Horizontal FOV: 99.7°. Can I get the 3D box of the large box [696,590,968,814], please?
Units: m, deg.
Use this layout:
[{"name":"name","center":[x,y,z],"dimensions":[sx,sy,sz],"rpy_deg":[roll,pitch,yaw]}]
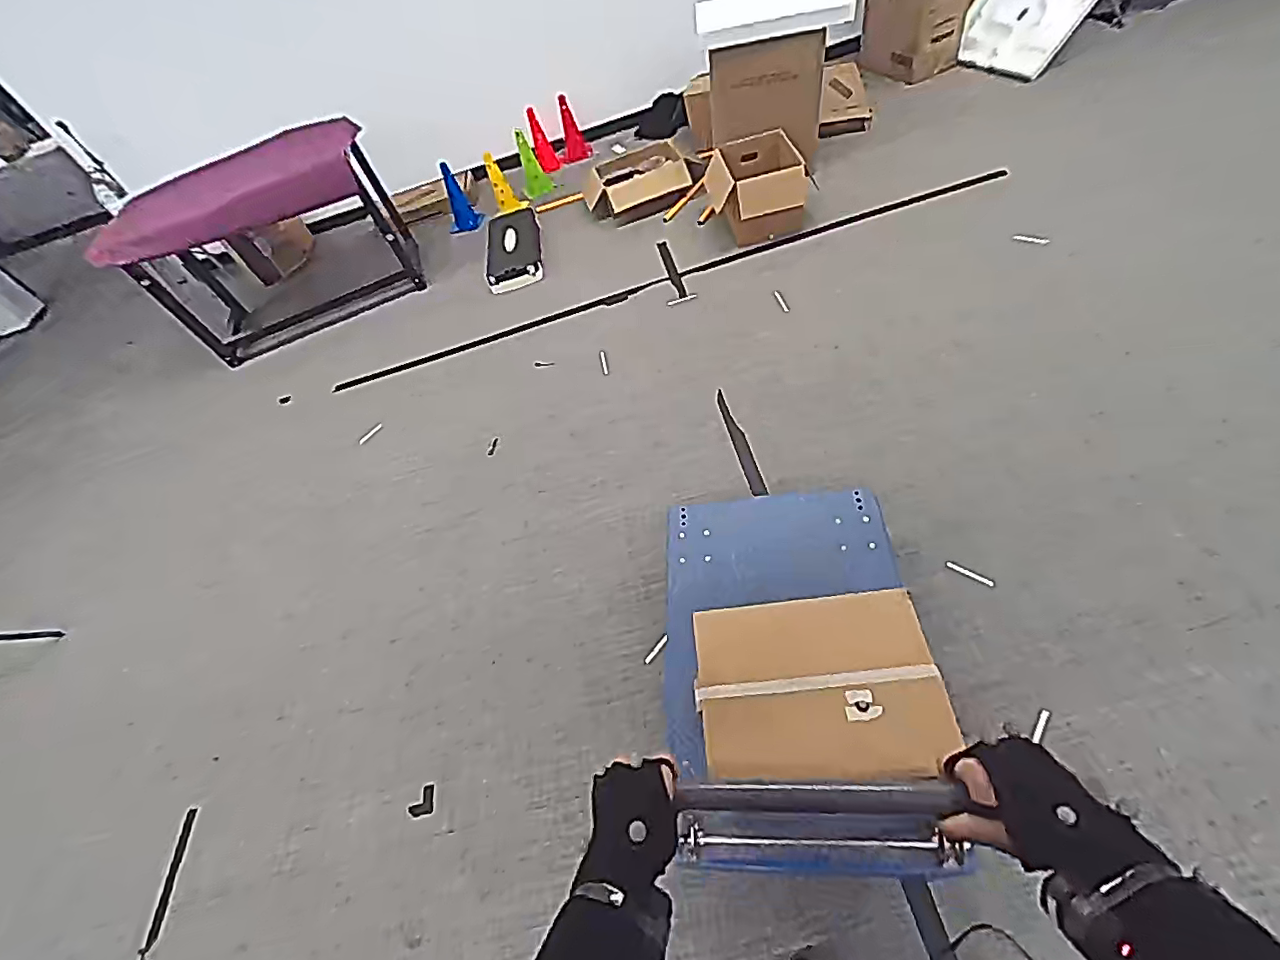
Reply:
[{"name":"large box","center":[0.340,0.449,1.070],"dimensions":[0.408,0.320,0.320],"rpy_deg":[-9,52,8]}]
